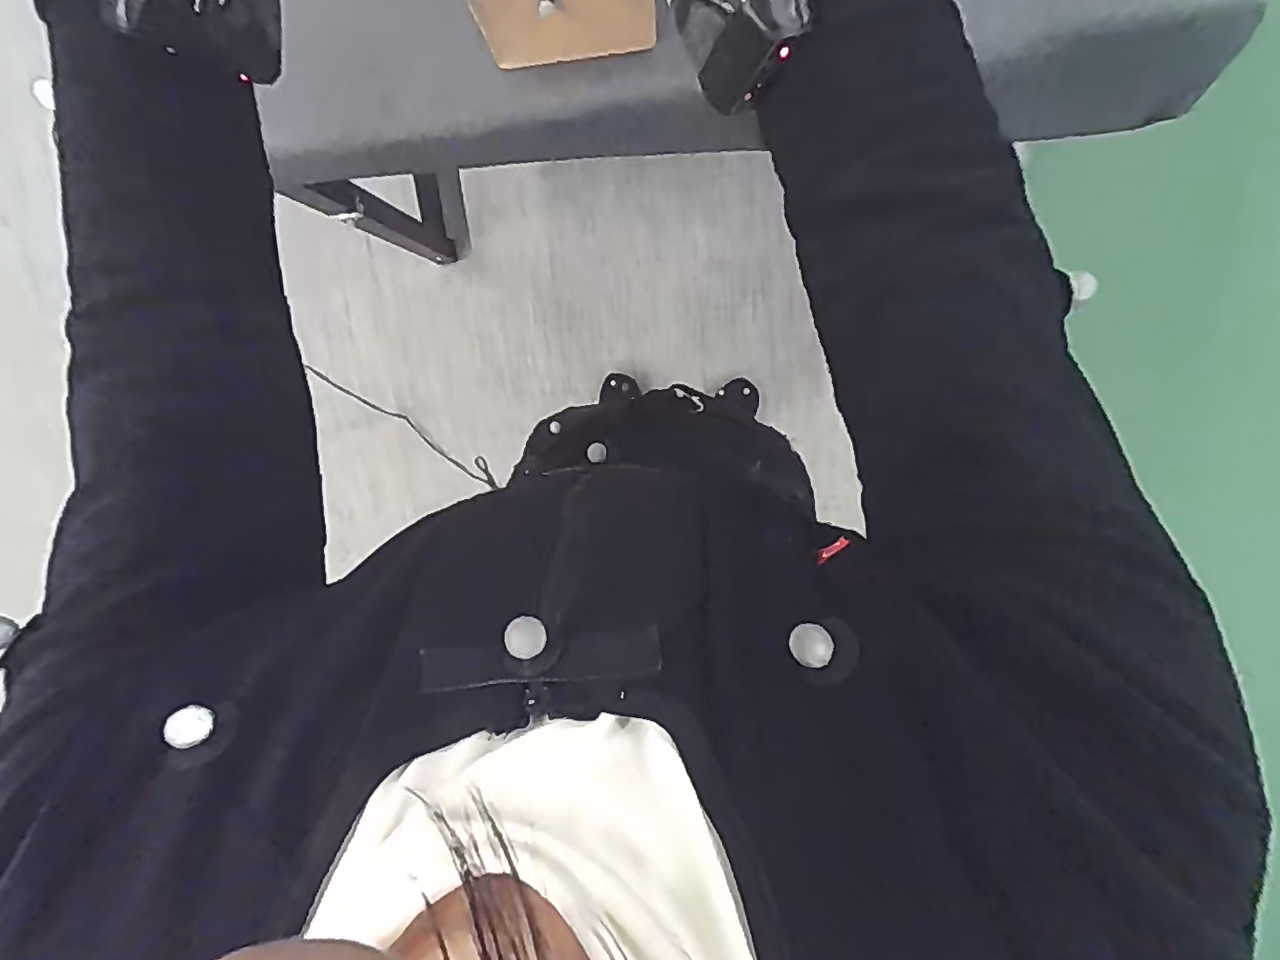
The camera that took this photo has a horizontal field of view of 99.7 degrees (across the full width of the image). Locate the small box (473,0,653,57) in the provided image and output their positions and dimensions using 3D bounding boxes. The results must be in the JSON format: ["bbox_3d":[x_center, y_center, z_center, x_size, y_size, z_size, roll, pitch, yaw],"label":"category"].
[{"bbox_3d":[-0.082,-0.535,0.504,0.179,0.176,0.168,-5,101,3],"label":"small box"}]
